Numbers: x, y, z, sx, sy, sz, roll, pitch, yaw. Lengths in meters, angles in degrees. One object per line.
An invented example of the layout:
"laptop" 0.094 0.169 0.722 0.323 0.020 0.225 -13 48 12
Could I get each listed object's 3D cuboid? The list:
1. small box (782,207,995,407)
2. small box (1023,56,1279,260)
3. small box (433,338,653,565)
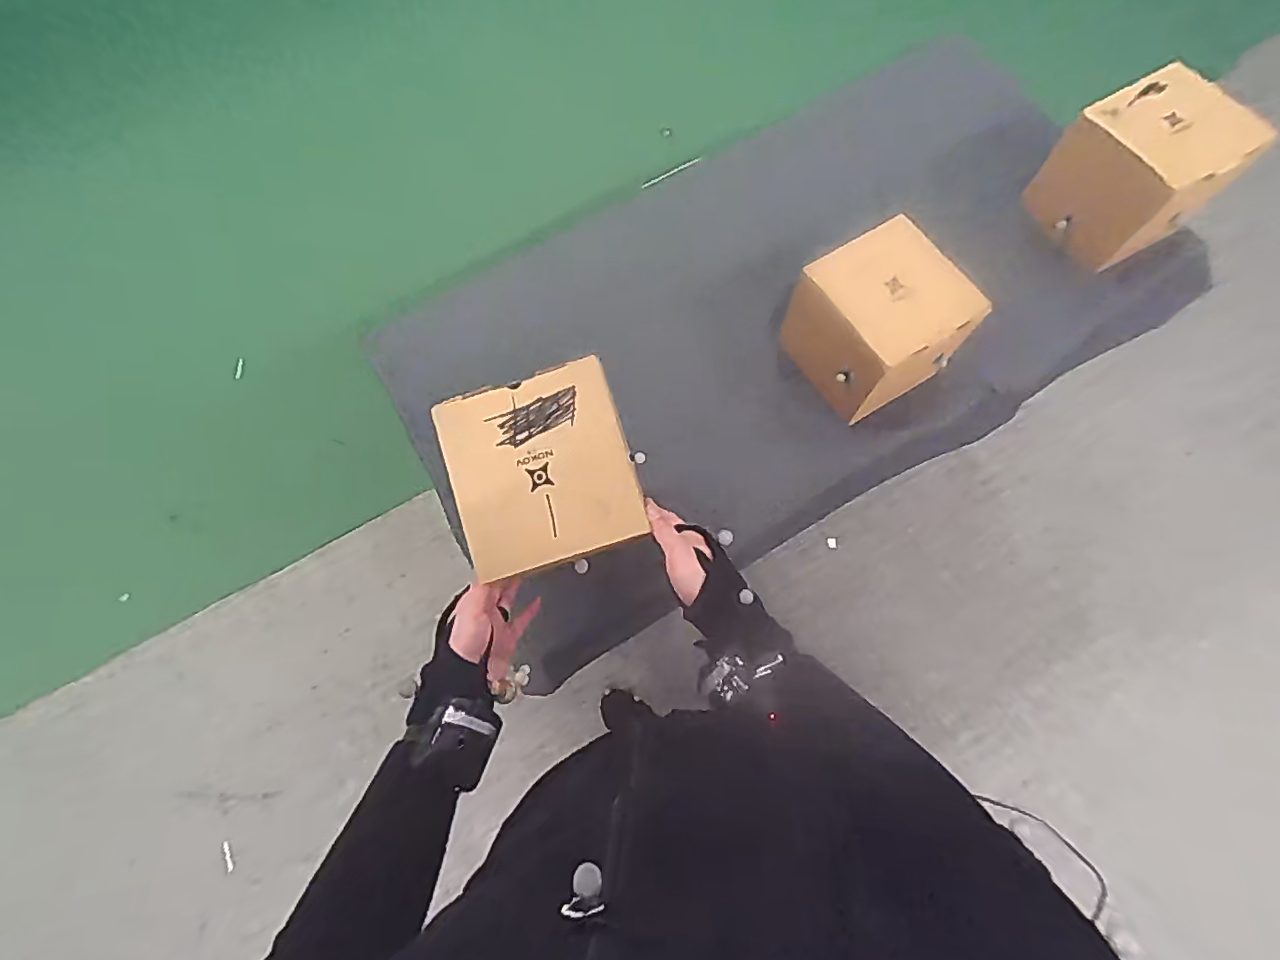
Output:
"small box" 0.322 -0.223 0.743 0.168 0.176 0.179 -30 71 -9
"small box" 0.730 -0.457 0.797 0.168 0.176 0.179 -28 73 -4
"small box" -0.088 -0.018 0.564 0.168 0.176 0.179 -17 84 1
